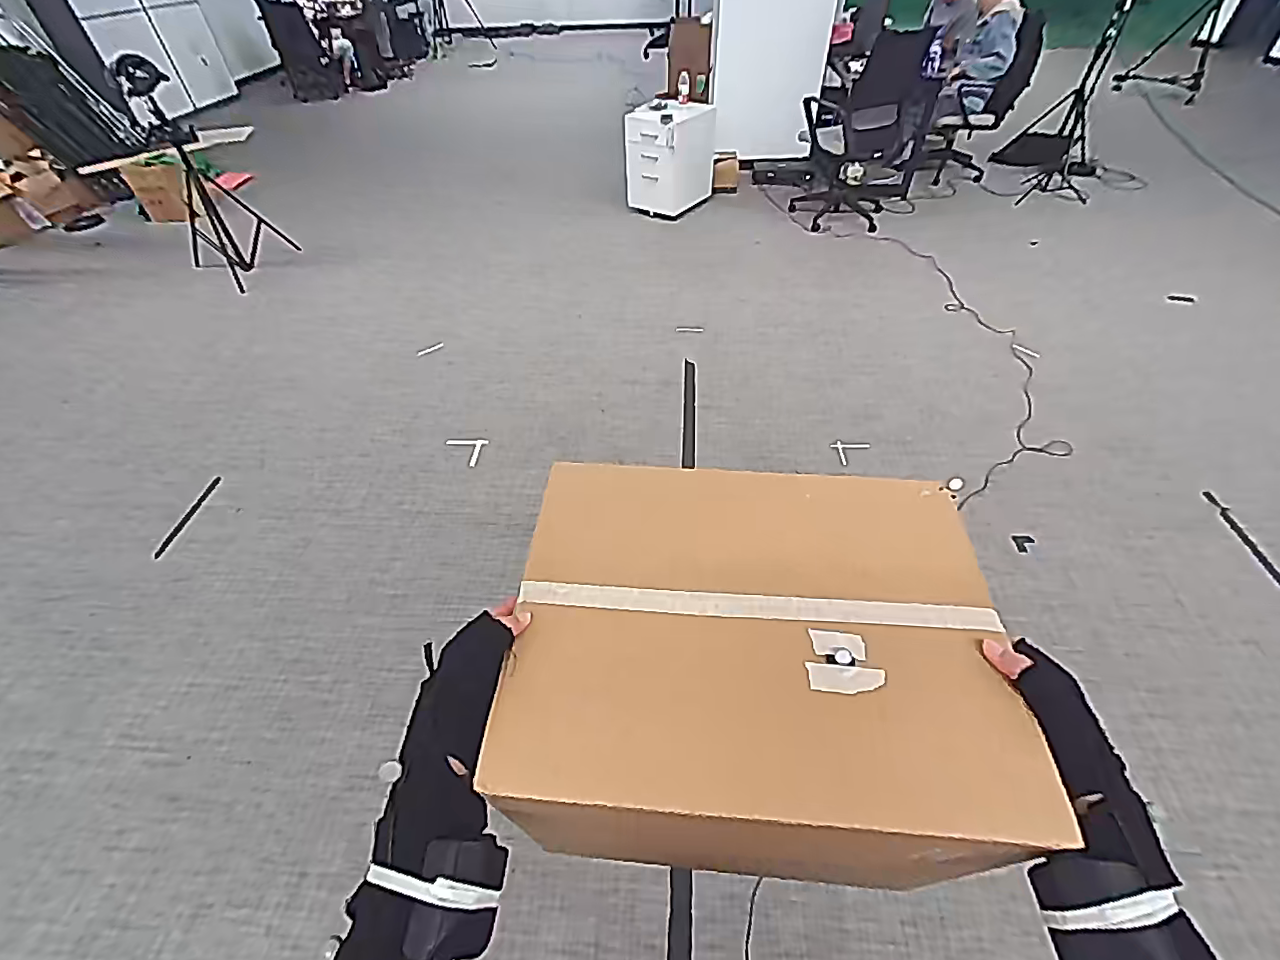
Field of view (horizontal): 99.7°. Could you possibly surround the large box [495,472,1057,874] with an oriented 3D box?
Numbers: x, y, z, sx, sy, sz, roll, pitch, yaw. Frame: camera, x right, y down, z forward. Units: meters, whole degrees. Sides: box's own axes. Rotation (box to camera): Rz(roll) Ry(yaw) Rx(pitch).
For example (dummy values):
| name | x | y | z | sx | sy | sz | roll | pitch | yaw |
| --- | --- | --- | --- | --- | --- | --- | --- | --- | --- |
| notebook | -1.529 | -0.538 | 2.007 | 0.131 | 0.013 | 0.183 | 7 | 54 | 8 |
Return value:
| name | x | y | z | sx | sy | sz | roll | pitch | yaw |
| --- | --- | --- | --- | --- | --- | --- | --- | --- | --- |
| large box | 0.101 | 0.211 | 0.588 | 0.408 | 0.320 | 0.320 | 3 | 50 | 4 |
